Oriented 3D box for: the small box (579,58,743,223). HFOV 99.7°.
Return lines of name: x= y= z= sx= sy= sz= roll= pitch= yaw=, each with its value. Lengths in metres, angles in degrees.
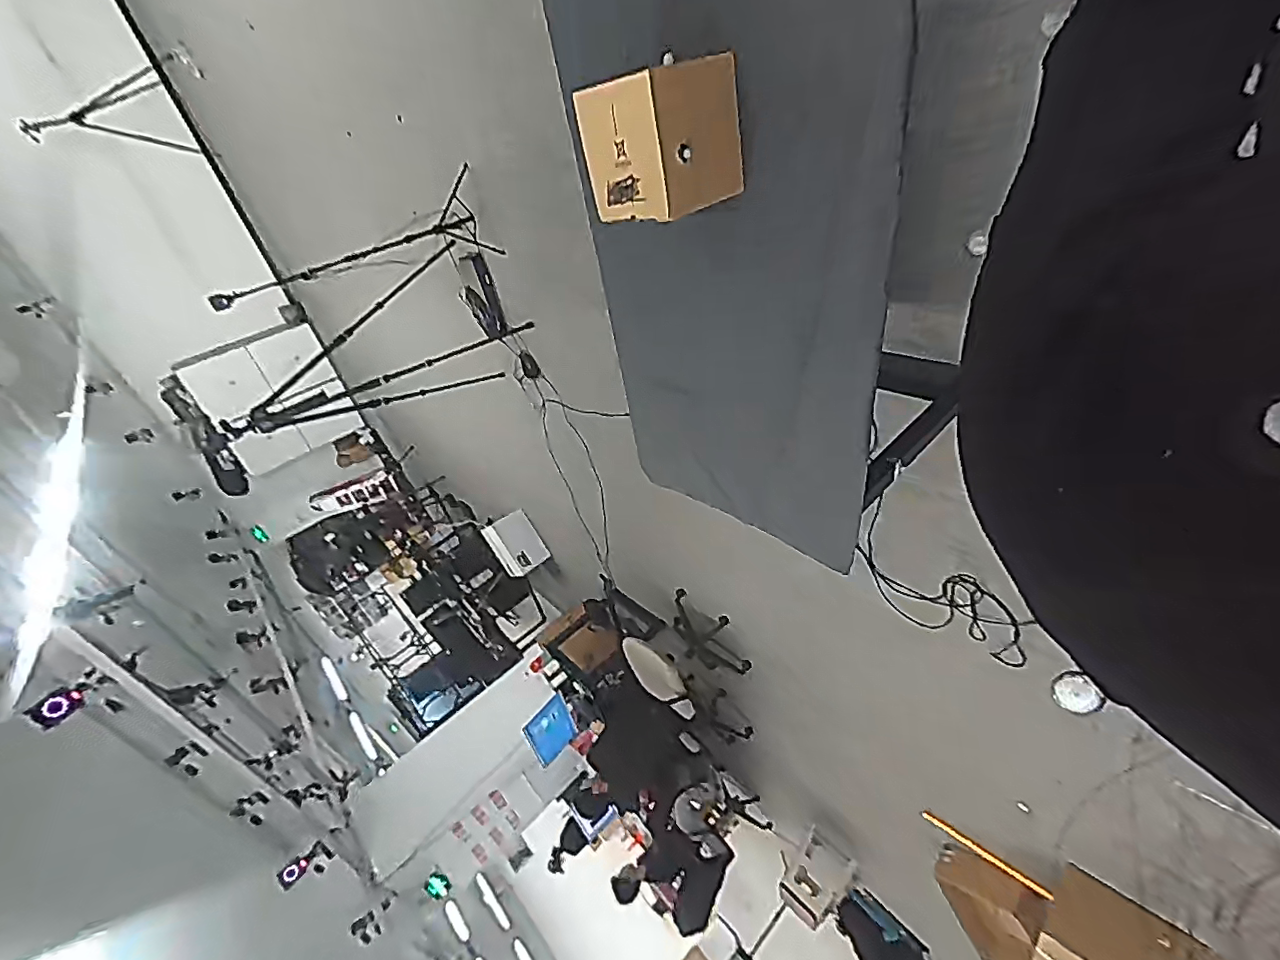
small box: x=0.040 y=-0.505 z=0.818 sx=0.168 sy=0.176 sz=0.179 roll=25 pitch=140 yaw=43
